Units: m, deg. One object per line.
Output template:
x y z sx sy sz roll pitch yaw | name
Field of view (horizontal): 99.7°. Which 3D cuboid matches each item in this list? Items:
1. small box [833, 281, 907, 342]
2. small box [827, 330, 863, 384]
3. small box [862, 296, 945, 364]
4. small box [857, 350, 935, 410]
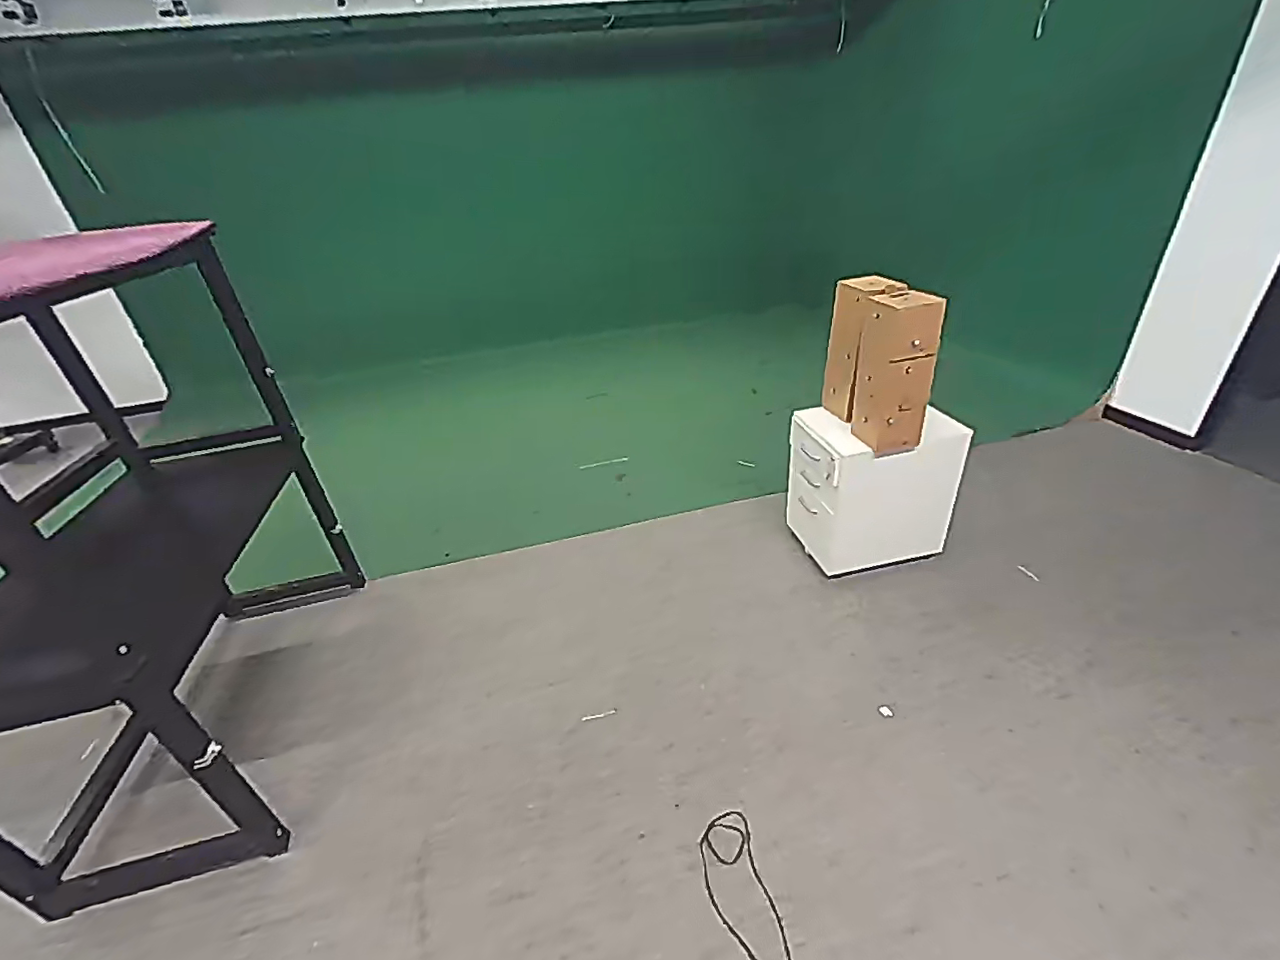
0.822 -0.610 1.954 0.168 0.176 0.179 -12 34 -13 | small box
0.829 -0.470 2.039 0.168 0.176 0.179 -12 32 -13 | small box
0.837 -0.483 1.736 0.168 0.176 0.179 -11 31 -8 | small box
0.853 -0.346 1.824 0.179 0.176 0.168 -10 31 -8 | small box
